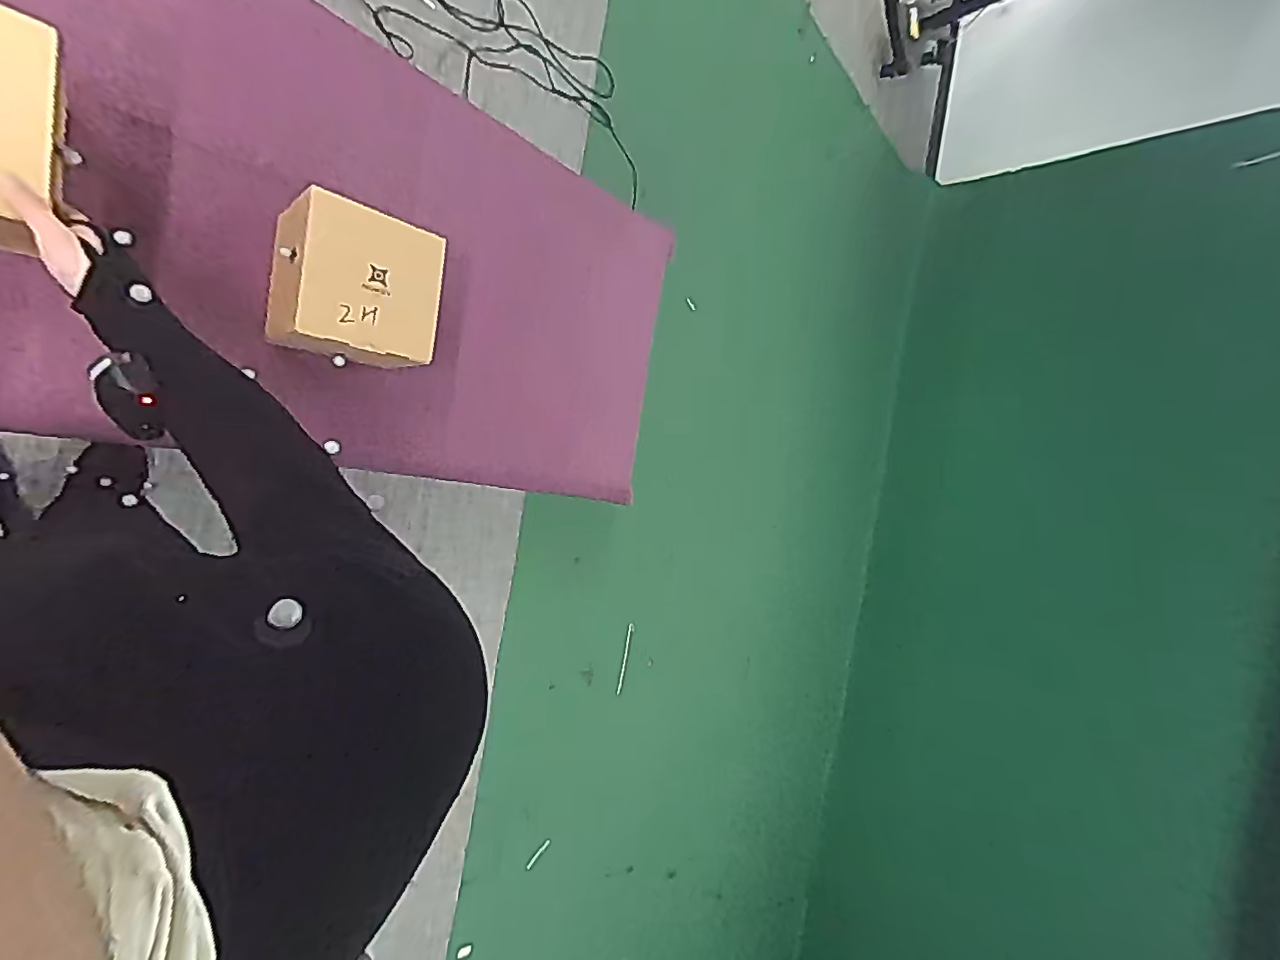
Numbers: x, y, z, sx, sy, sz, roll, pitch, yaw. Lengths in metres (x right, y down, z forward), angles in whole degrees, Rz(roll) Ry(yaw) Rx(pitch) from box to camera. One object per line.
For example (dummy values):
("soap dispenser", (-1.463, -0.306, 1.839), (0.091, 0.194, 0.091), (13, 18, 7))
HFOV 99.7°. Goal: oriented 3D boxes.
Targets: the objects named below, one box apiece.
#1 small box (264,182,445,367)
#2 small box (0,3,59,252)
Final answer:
("small box", (-0.389, -0.260, 0.733), (0.168, 0.176, 0.179), (7, 92, -45))
("small box", (-0.637, -0.325, 0.474), (0.168, 0.176, 0.179), (3, 95, -46))
